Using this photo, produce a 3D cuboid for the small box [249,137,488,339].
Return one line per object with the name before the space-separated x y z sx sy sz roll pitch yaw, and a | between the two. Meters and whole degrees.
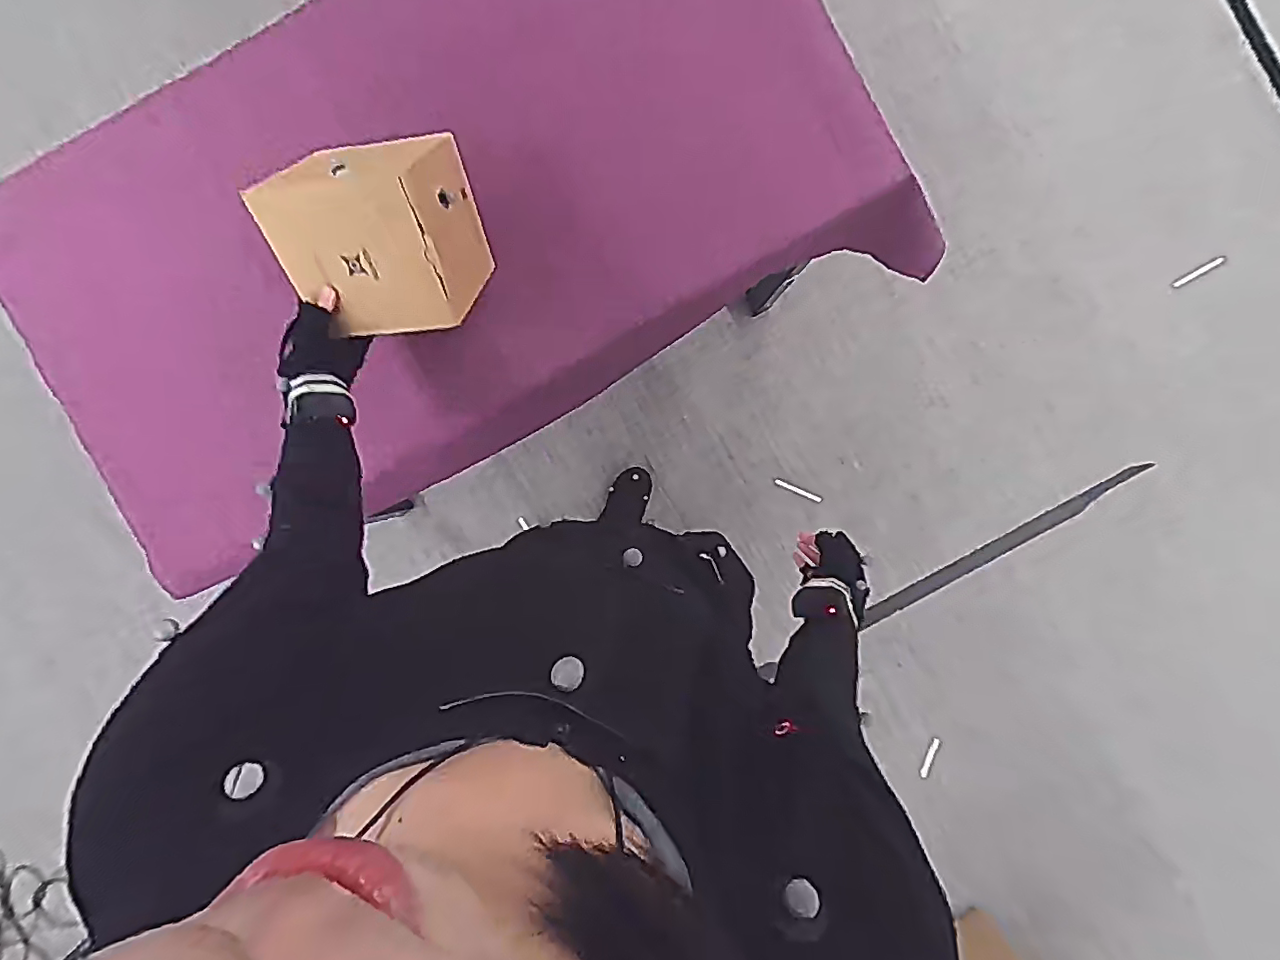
small box | -0.298 -0.290 0.647 0.179 0.176 0.168 -3 134 10
